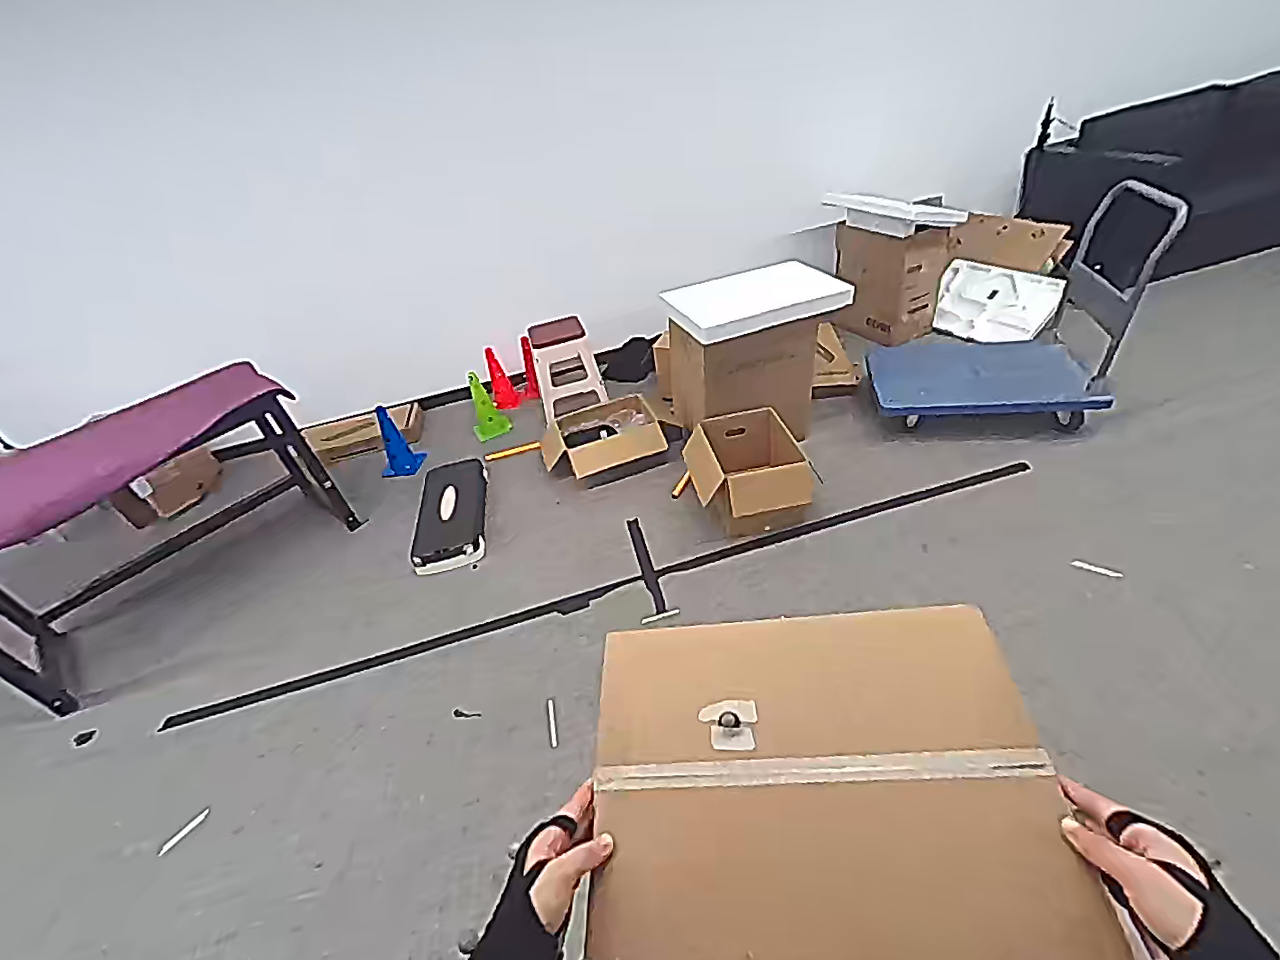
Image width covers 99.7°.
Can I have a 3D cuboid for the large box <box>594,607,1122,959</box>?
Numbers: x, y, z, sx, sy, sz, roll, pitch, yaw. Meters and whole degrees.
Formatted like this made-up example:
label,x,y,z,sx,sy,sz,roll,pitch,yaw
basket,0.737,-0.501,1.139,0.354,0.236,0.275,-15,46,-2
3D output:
label,x,y,z,sx,sy,sz,roll,pitch,yaw
large box,0.190,0.377,0.618,0.408,0.320,0.320,-8,45,10
